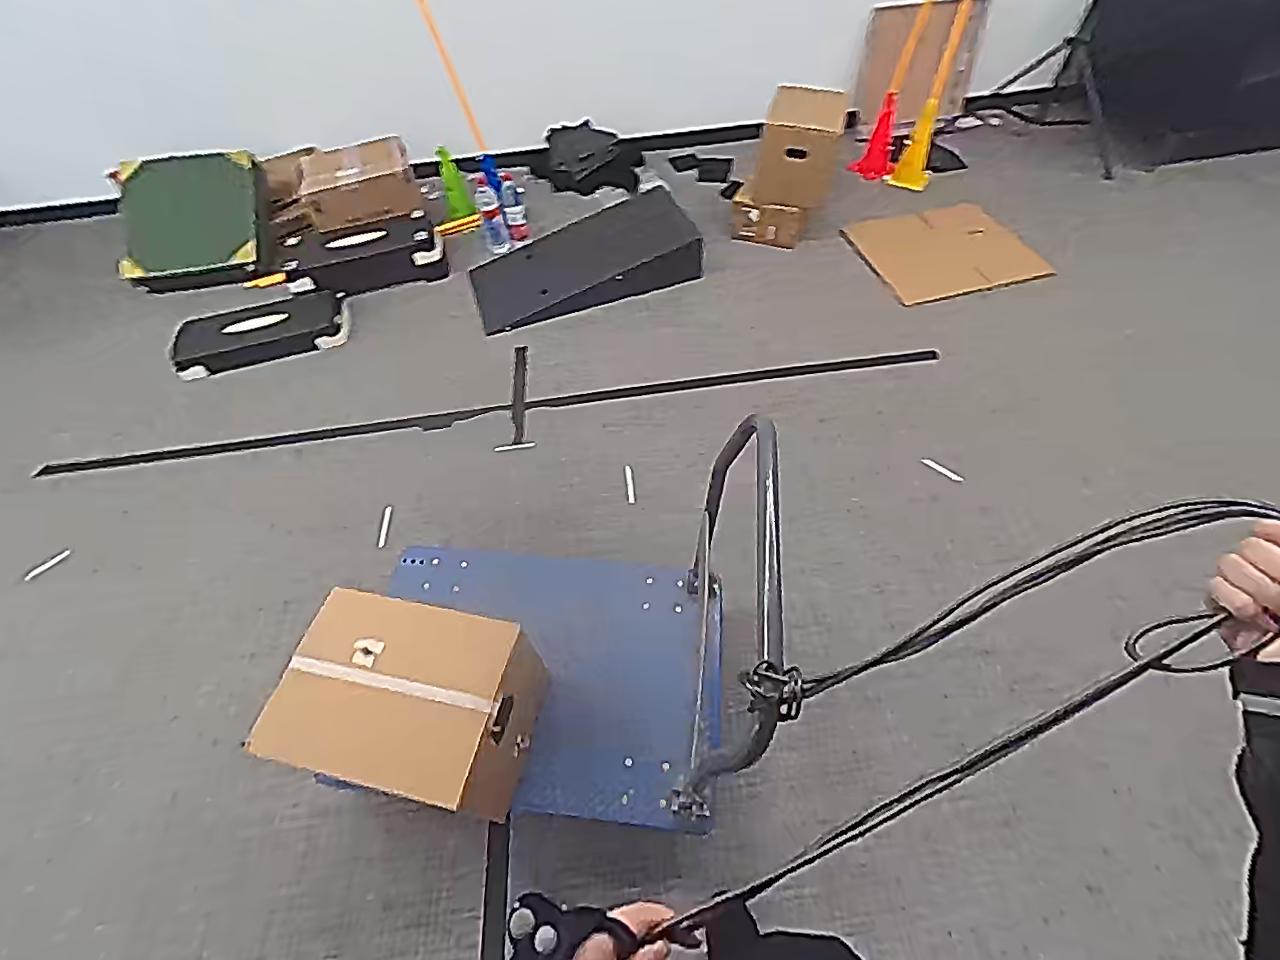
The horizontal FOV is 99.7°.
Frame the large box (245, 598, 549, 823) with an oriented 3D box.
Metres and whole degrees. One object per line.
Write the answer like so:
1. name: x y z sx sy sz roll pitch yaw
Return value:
1. large box: -0.437 0.467 1.086 0.408 0.320 0.320 8 55 10
